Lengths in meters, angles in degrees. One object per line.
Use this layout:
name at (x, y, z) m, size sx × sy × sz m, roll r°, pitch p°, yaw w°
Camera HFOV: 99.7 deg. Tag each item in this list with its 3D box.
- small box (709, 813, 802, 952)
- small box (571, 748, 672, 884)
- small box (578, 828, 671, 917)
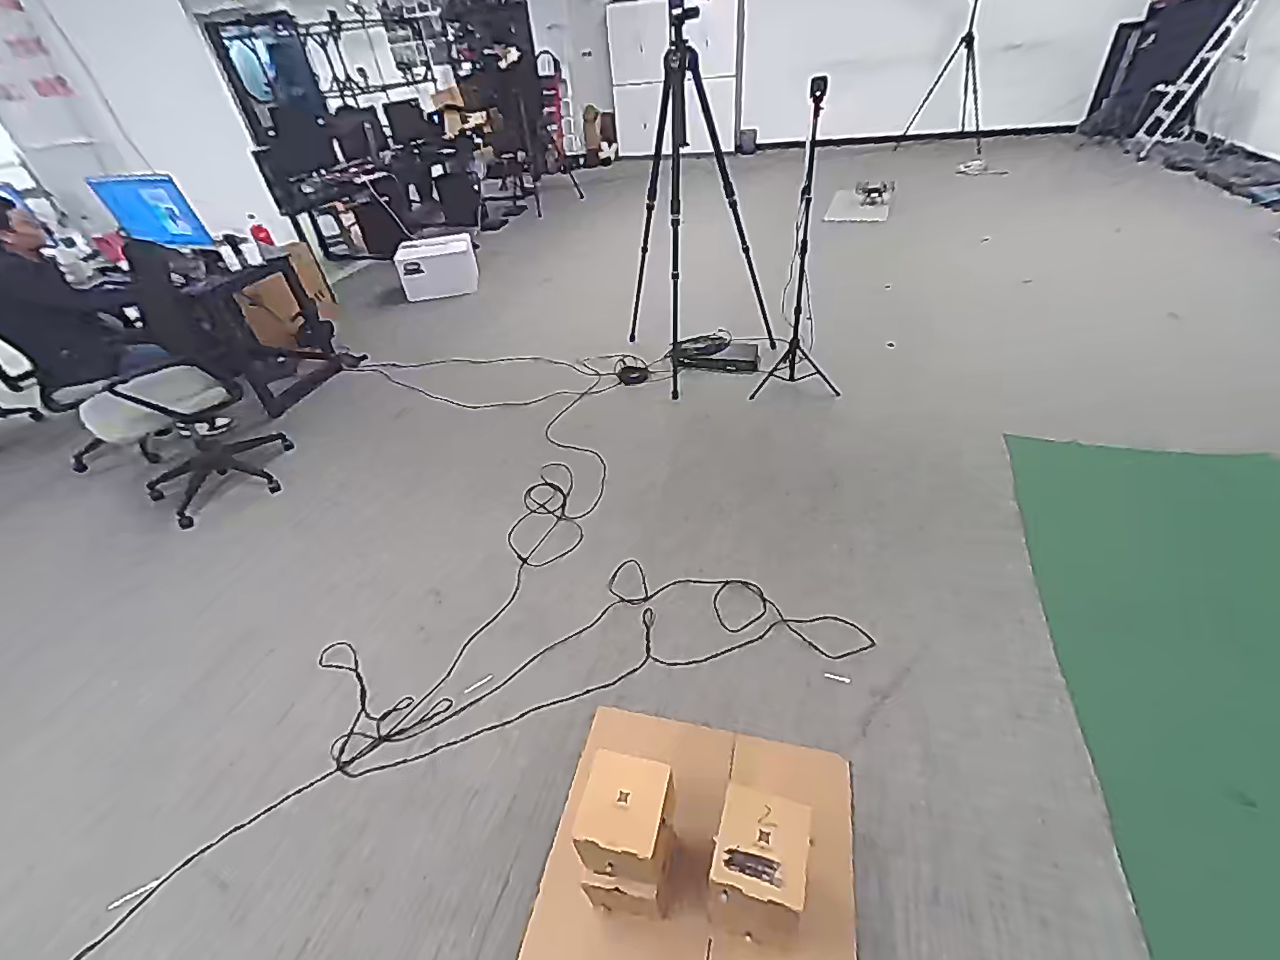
small box at (0.248, 0.862, 1.159) m, size 0.168 × 0.176 × 0.179 m, roll 8°, pitch 42°, yaw 19°
small box at (-0.029, 0.703, 1.132) m, size 0.168 × 0.176 × 0.179 m, roll 6°, pitch 41°, yaw 15°
small box at (-0.025, 0.845, 1.215) m, size 0.168 × 0.176 × 0.179 m, roll 4°, pitch 40°, yaw 13°
